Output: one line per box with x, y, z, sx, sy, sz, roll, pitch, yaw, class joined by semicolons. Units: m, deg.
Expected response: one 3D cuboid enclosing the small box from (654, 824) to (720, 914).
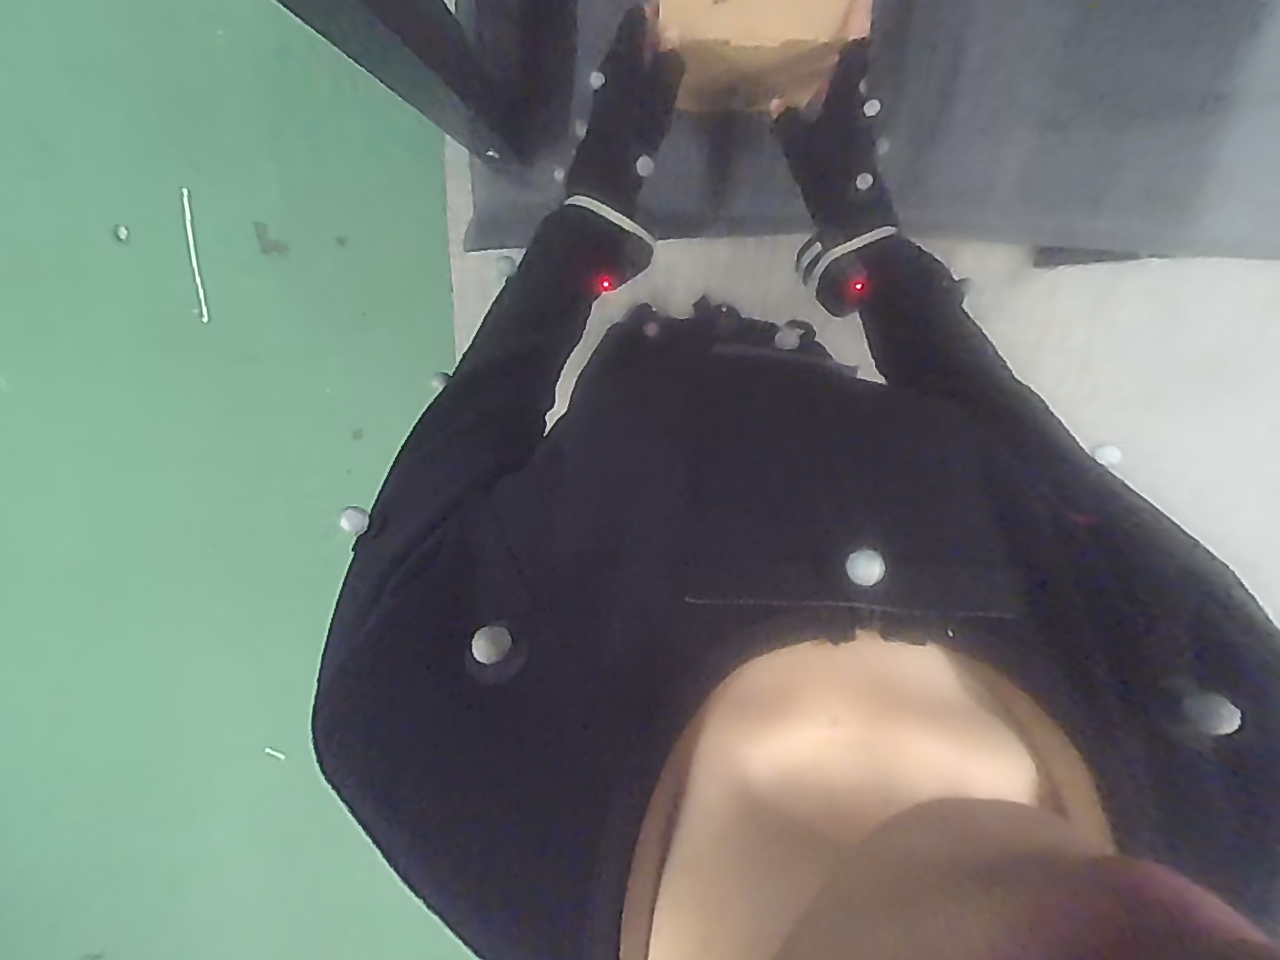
0.157;1.316;1.838;0.179;0.176;0.168;18;107;-2;small box

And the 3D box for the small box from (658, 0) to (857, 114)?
0.101;-0.474;0.506;0.168;0.176;0.179;1;108;2;small box
